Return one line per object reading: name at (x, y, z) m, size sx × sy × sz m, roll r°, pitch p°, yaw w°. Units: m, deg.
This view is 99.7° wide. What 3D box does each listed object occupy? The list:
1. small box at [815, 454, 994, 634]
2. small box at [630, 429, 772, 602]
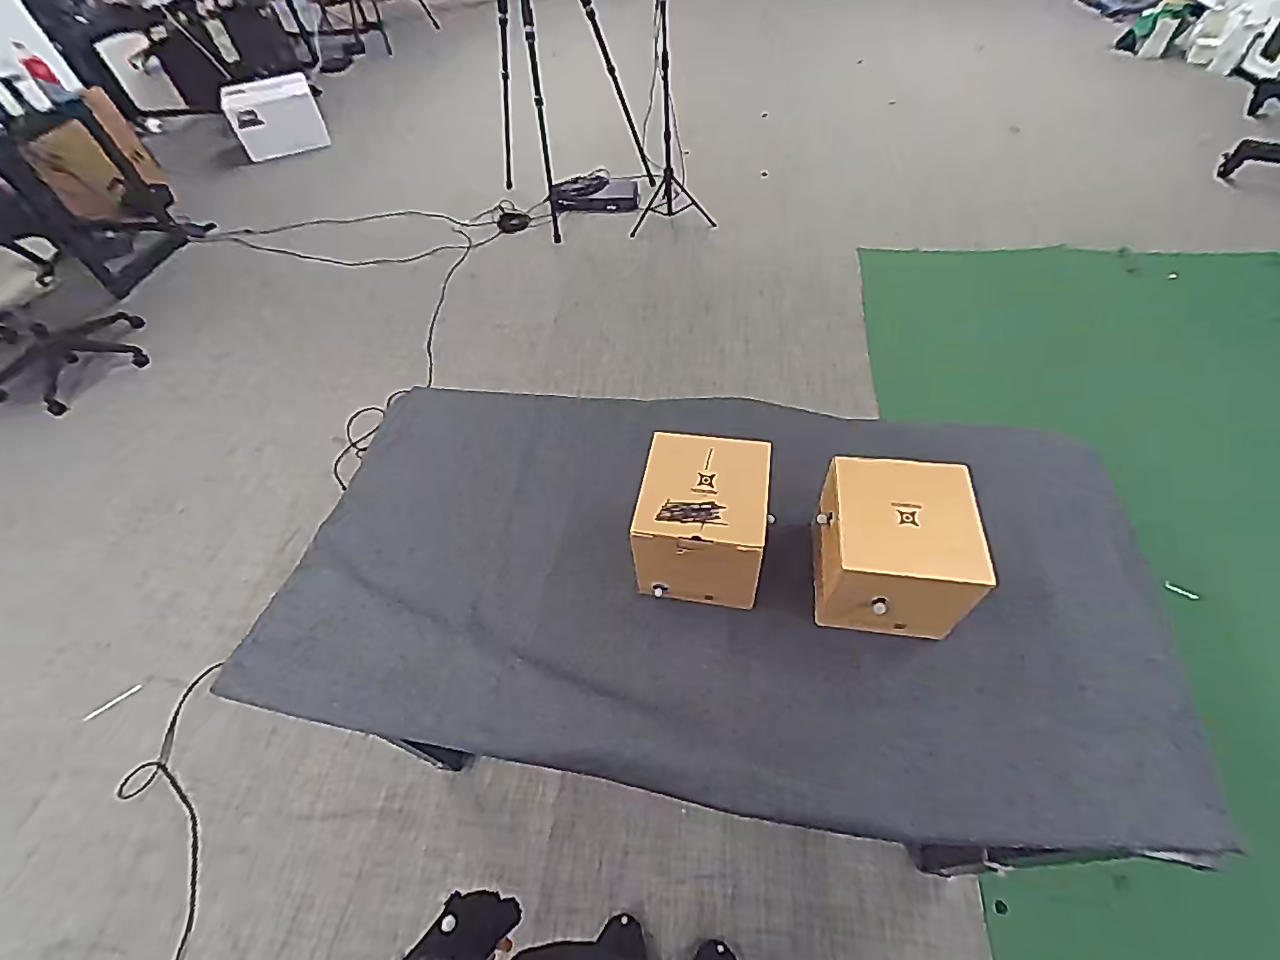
small box at (0.331, 0.088, 0.718) m, size 0.168 × 0.176 × 0.179 m, roll 4°, pitch 53°, yaw 9°
small box at (0.091, 0.054, 0.766) m, size 0.168 × 0.176 × 0.179 m, roll 7°, pitch 53°, yaw 10°
